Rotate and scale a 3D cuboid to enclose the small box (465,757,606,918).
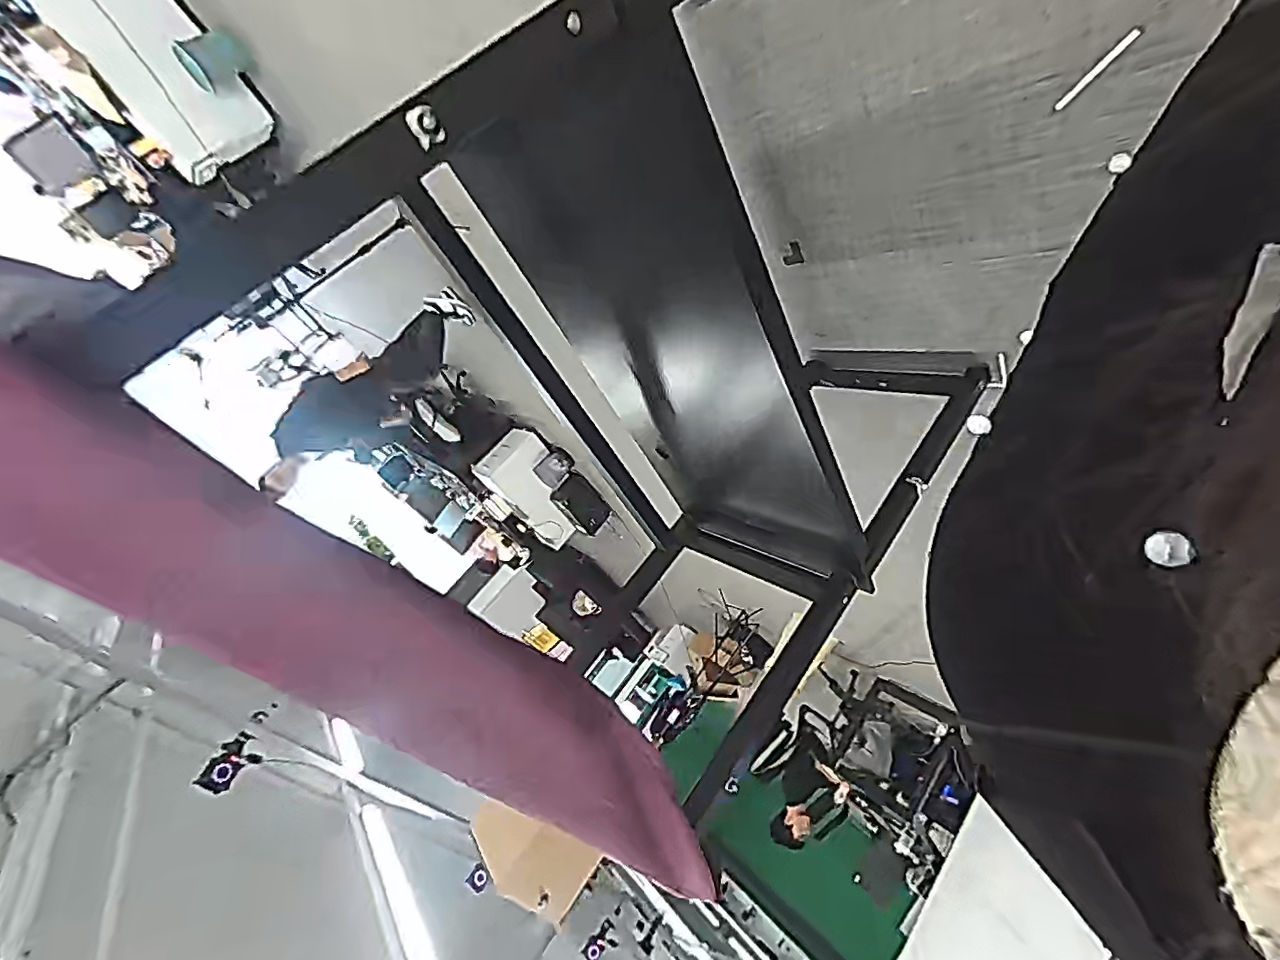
[{"bbox_3d":[-0.195,0.661,1.024,0.168,0.176,0.179,50,160,-27],"label":"small box"}]
